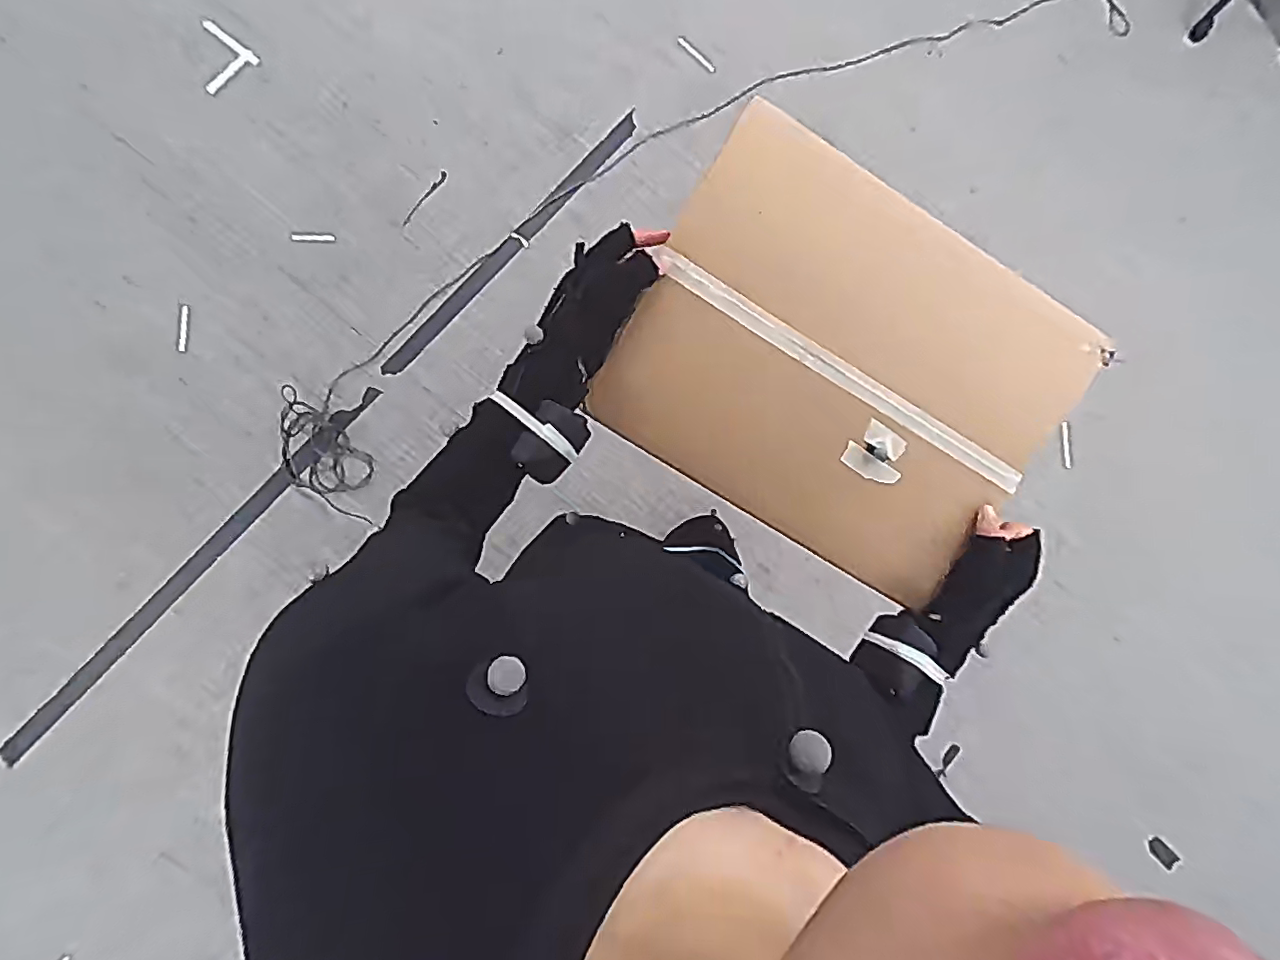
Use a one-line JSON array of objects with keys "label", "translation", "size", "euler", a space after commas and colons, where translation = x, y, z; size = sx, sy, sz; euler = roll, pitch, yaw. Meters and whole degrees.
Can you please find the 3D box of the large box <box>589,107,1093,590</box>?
[{"label": "large box", "translation": [0.189, -0.134, 0.667], "size": [0.408, 0.320, 0.320], "euler": [31, 98, -6]}]
